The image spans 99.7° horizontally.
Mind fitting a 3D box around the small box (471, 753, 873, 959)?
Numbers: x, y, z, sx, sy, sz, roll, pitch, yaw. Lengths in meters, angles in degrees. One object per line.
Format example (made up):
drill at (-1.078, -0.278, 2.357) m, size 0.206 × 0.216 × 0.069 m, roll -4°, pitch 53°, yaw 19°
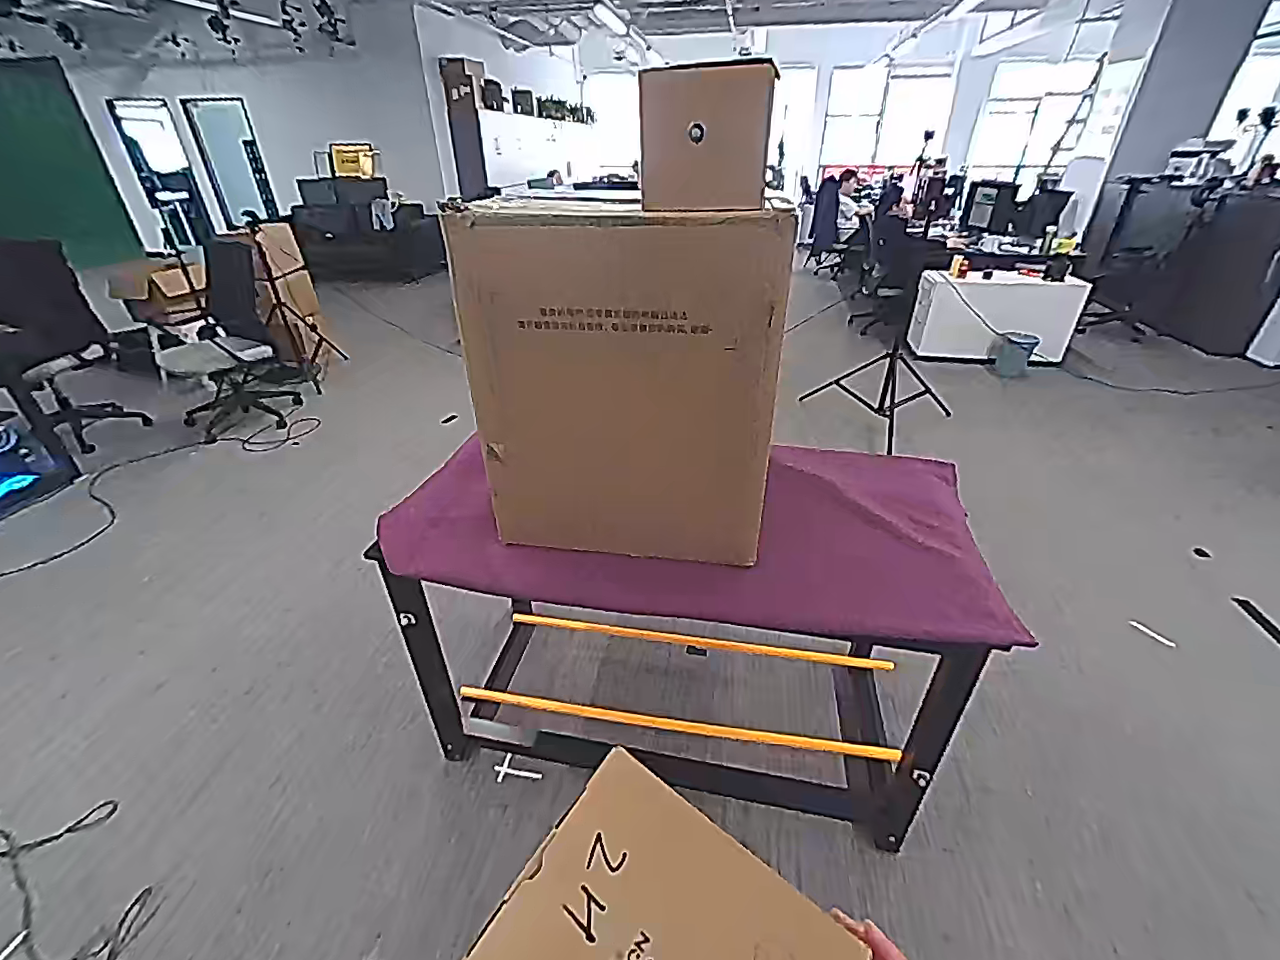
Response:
small box at (0.018, 0.316, 0.340) m, size 0.179 × 0.176 × 0.168 m, roll 24°, pitch 56°, yaw 30°
